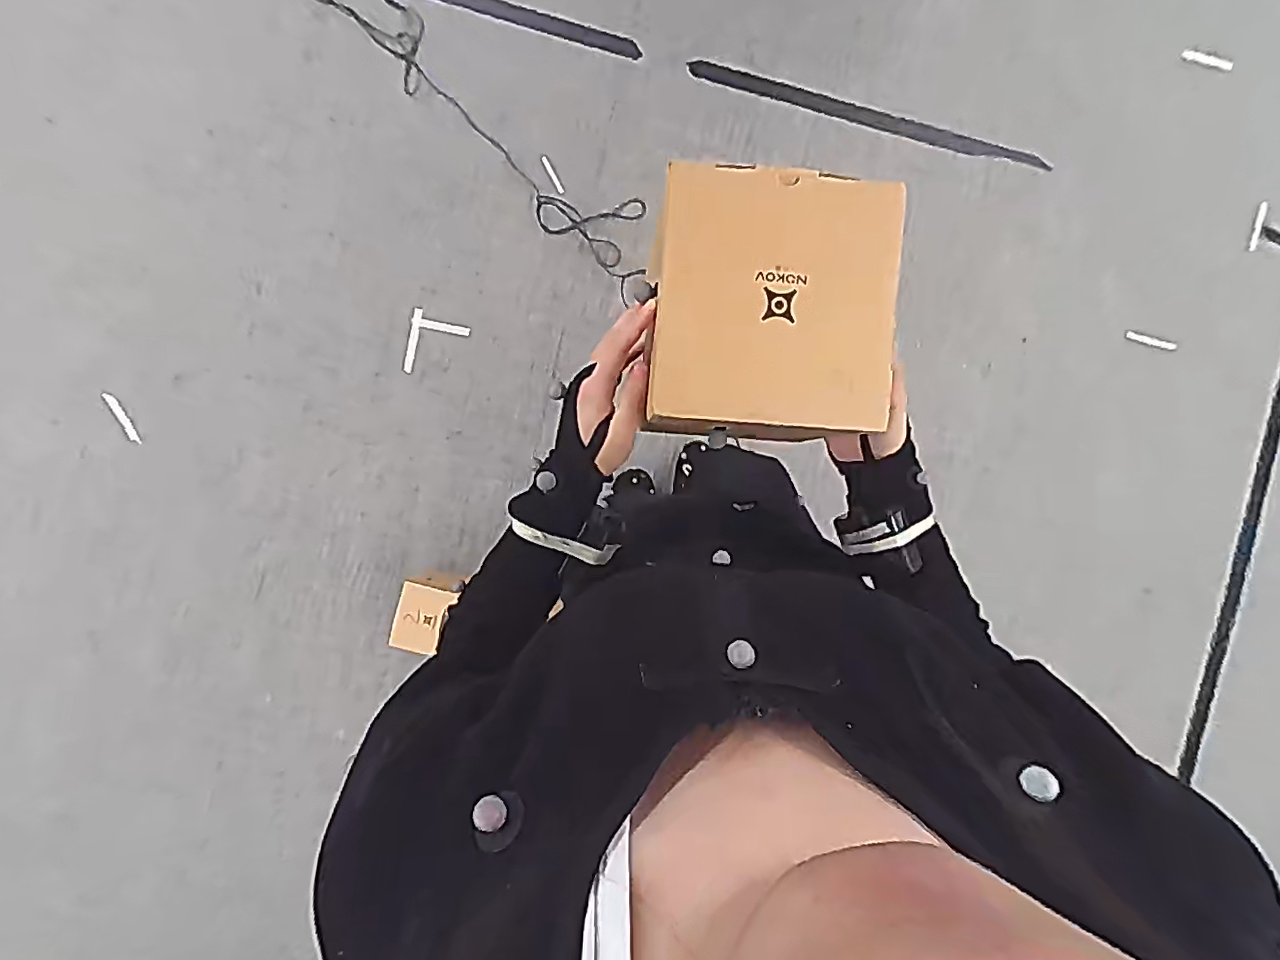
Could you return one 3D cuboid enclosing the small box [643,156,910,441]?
[{"bbox_3d":[0.093,-0.126,0.446,0.168,0.176,0.179,4,90,-4],"label":"small box"}]
